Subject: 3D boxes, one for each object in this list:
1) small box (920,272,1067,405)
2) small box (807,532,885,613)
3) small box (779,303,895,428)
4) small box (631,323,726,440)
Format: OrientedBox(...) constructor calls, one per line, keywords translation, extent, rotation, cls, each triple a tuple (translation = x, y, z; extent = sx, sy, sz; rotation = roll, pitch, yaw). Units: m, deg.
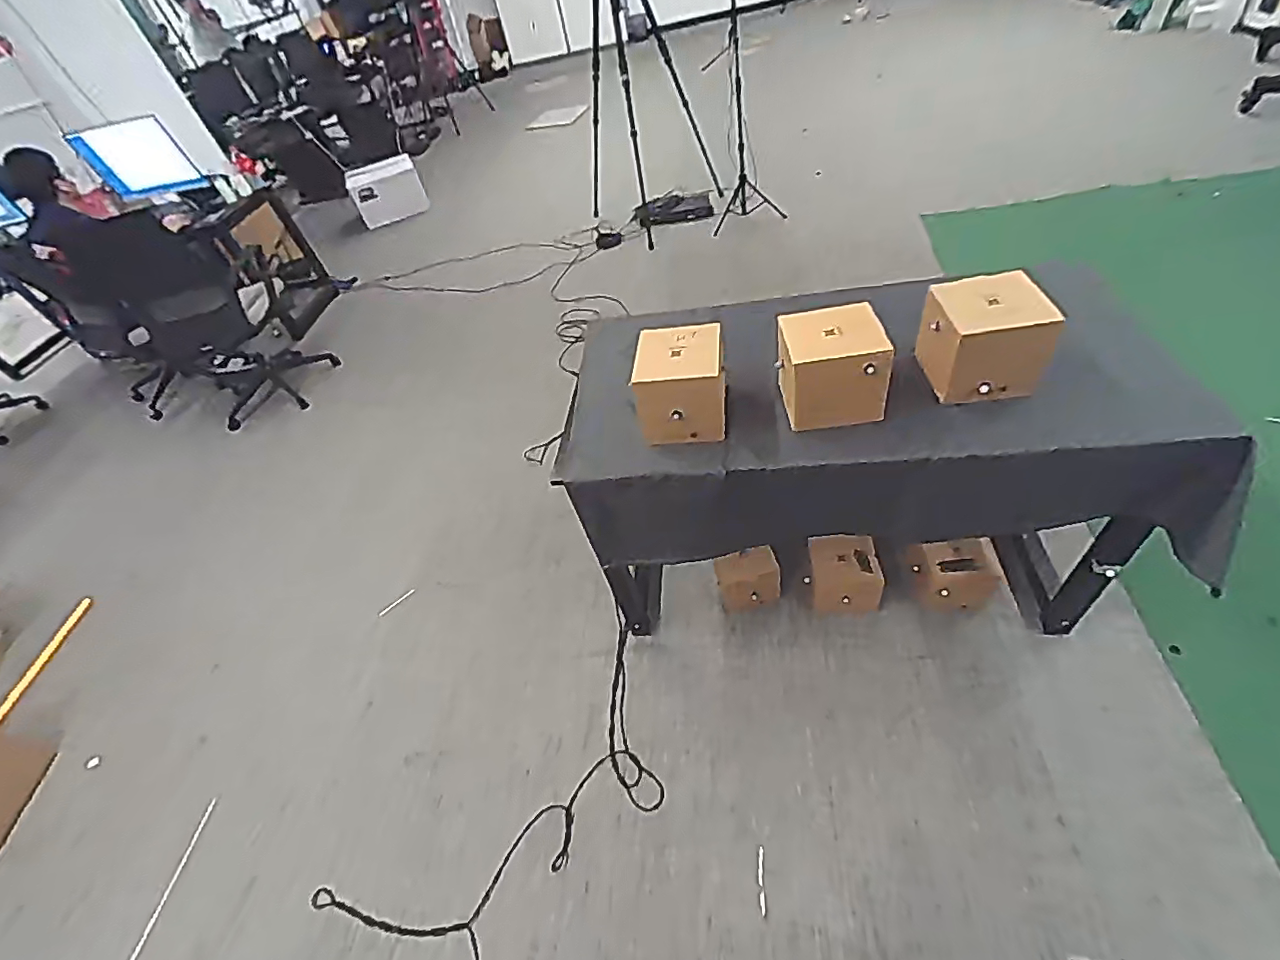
OrientedBox(translation=(0.649, -0.265, 1.023), extent=(0.168, 0.176, 0.179), rotation=(-6, 48, 10), cls="small box")
OrientedBox(translation=(0.583, 0.269, 1.553), extent=(0.179, 0.176, 0.168), rotation=(-6, 47, 11), cls="small box")
OrientedBox(translation=(0.372, -0.217, 1.053), extent=(0.179, 0.176, 0.168), rotation=(-7, 47, 8), cls="small box")
OrientedBox(translation=(0.088, -0.193, 1.100), extent=(0.168, 0.176, 0.179), rotation=(-2, 48, 12), cls="small box")
